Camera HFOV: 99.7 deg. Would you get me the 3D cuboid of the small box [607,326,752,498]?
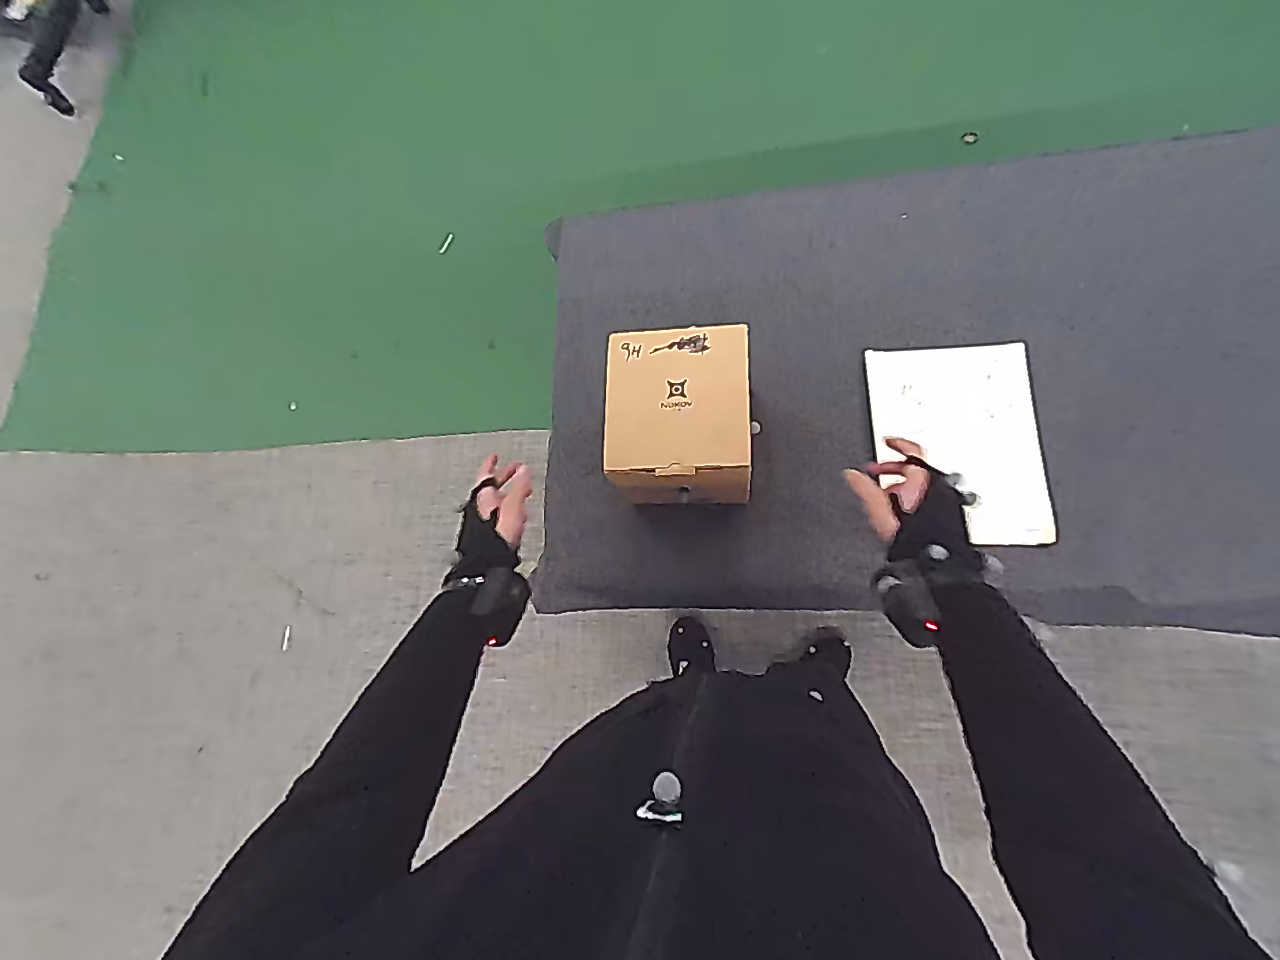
[{"bbox_3d":[0.058,-0.073,0.693,0.168,0.176,0.179,-1,77,10],"label":"small box"}]
